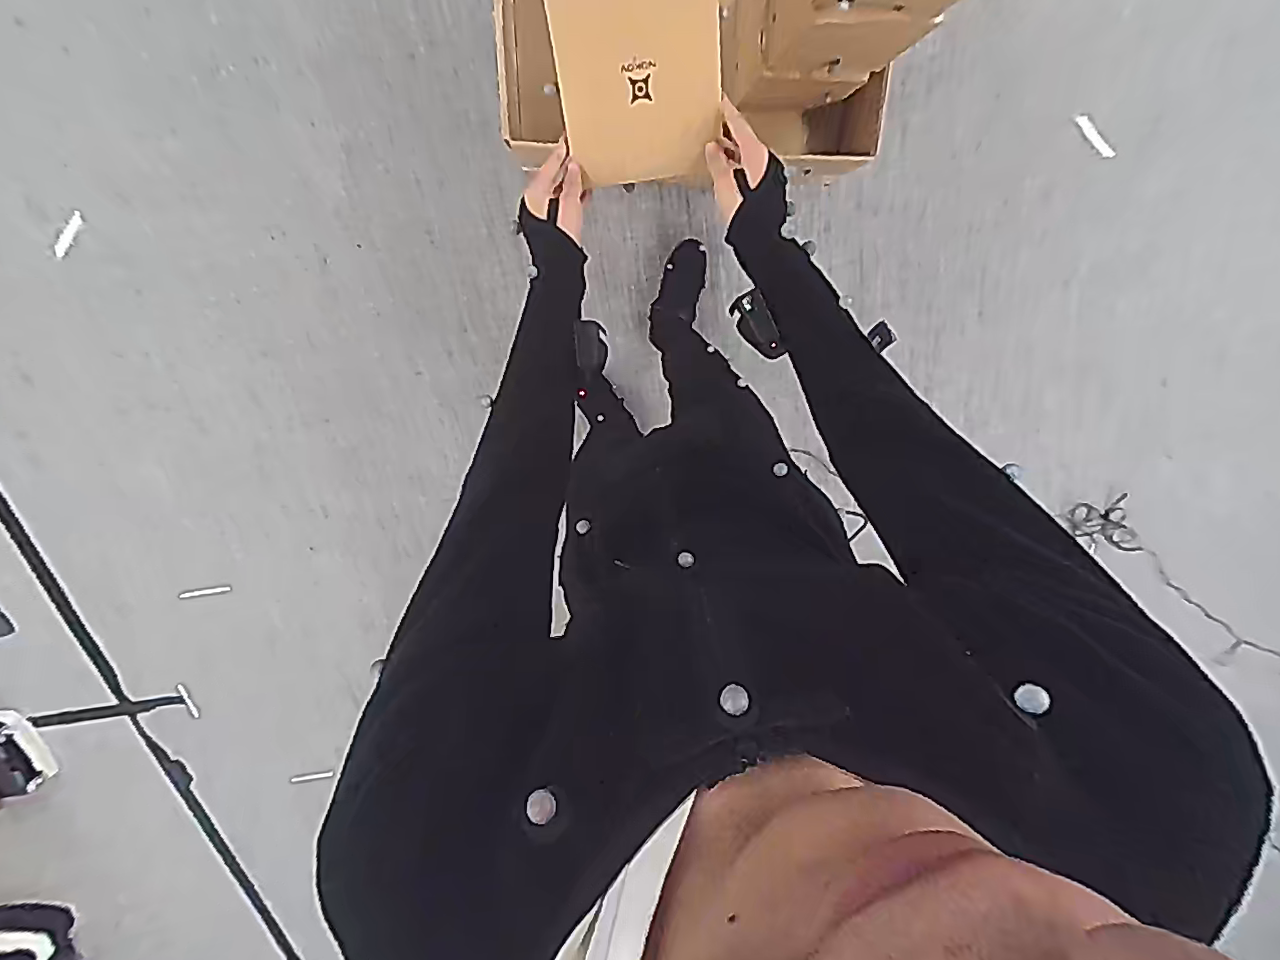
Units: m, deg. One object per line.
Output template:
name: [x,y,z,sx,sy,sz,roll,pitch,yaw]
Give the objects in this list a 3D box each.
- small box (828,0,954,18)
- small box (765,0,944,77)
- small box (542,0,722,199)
small box: [0.295,-0.622,0.558,0.168,0.176,0.179,1,109,-6]
small box: [0.282,-0.663,0.718,0.179,0.176,0.168,-3,110,-5]
small box: [-0.004,-0.431,0.605,0.168,0.176,0.179,-8,122,2]
